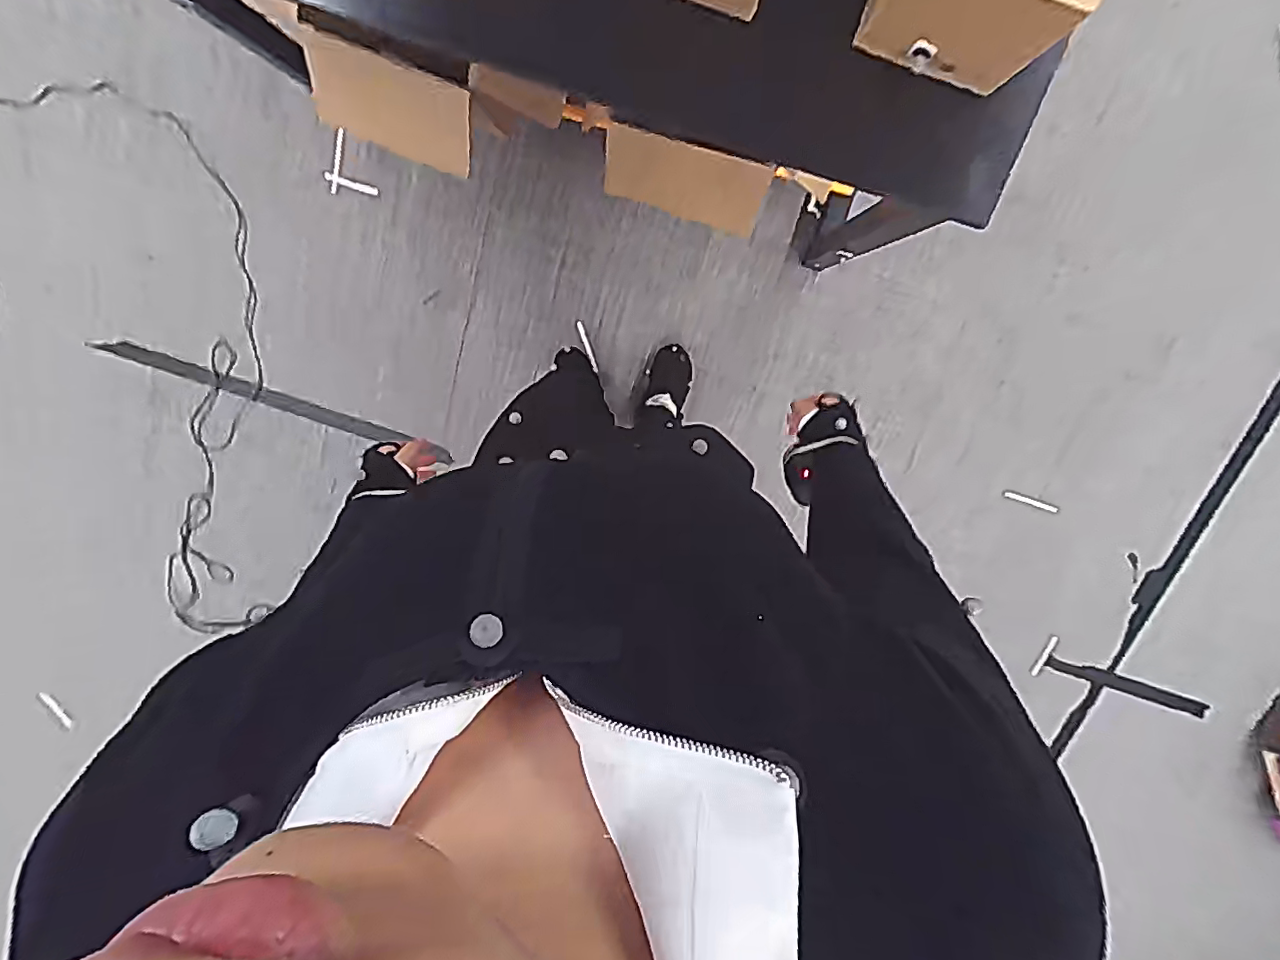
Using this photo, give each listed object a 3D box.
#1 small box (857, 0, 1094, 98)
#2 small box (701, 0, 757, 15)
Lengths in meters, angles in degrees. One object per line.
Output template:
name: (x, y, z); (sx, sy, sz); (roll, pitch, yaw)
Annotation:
small box: (0.333, -0.514, 0.513); (0.168, 0.176, 0.179); (18, 106, -1)
small box: (0.067, -0.593, 0.503); (0.168, 0.176, 0.179); (18, 106, -2)
